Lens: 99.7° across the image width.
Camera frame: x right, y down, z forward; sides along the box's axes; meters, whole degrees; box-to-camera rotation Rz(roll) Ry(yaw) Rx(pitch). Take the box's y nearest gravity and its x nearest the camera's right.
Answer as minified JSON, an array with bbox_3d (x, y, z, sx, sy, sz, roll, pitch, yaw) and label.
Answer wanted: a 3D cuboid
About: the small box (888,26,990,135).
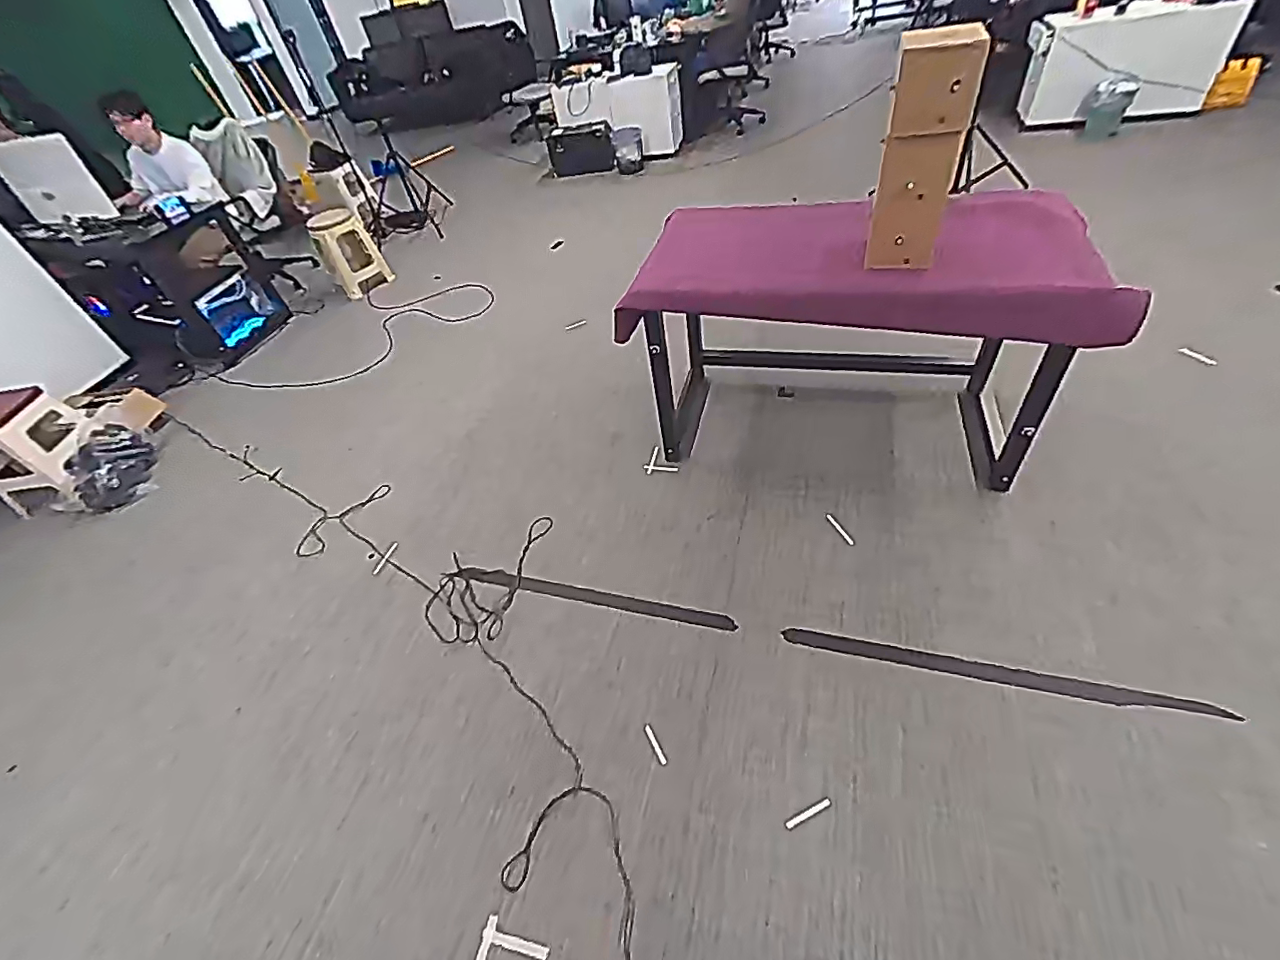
[{"bbox_3d":[0.671,-0.903,1.233,0.168,0.176,0.179,6,48,16],"label":"small box"}]

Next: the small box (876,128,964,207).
[{"bbox_3d":[0.699,-0.808,1.363,0.168,0.176,0.179,8,50,19],"label":"small box"}]

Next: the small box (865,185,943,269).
[{"bbox_3d":[0.719,-0.693,1.479,0.168,0.176,0.179,9,49,19],"label":"small box"}]
